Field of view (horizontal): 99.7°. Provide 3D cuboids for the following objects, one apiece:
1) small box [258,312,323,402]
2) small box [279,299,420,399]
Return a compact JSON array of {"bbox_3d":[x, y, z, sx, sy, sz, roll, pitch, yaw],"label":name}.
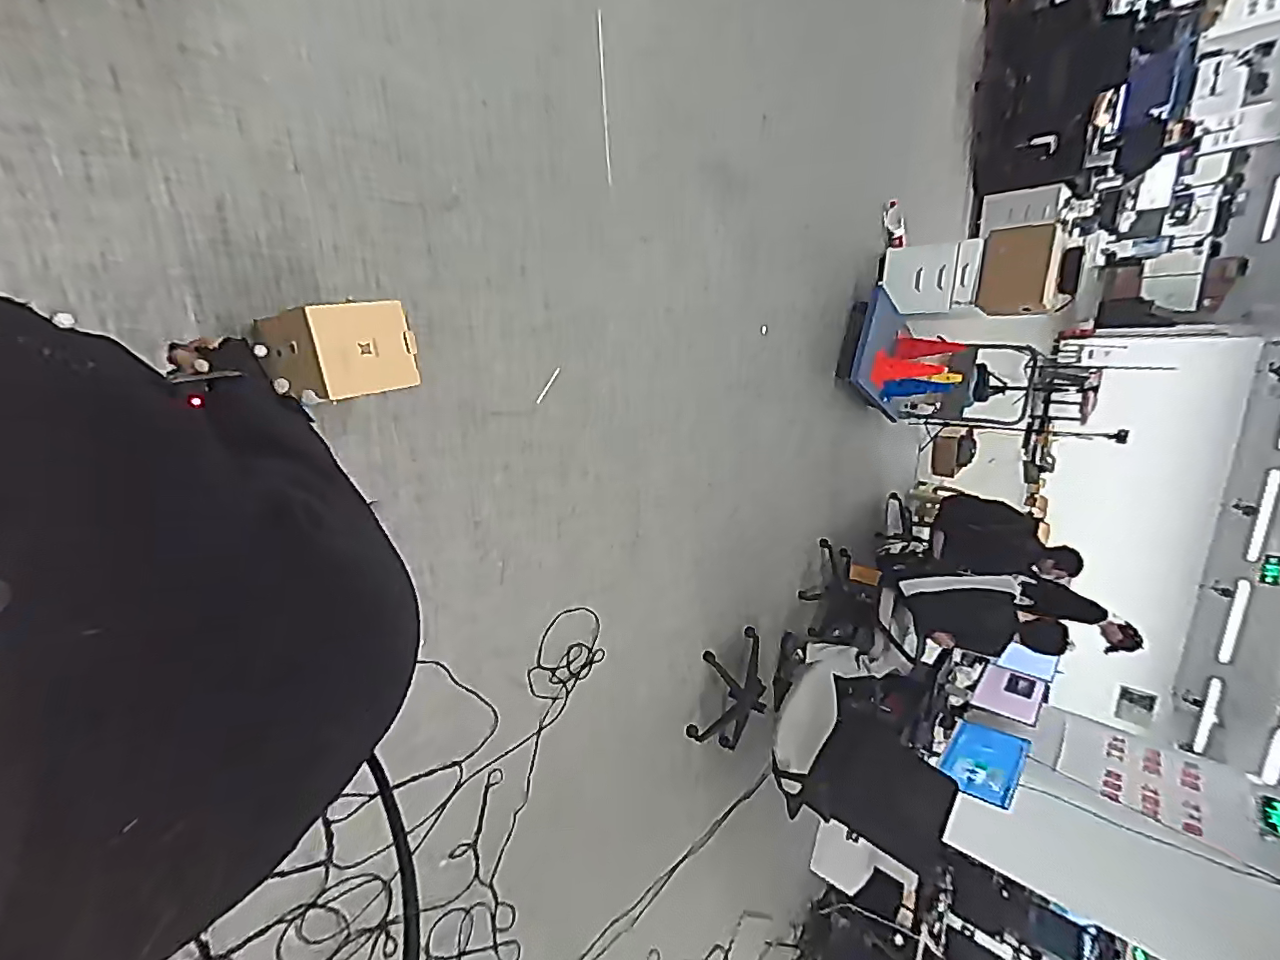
[{"bbox_3d":[-0.689,-0.270,1.164,0.168,0.176,0.179,-24,115,-43],"label":"small box"},{"bbox_3d":[-0.566,-0.258,1.056,0.179,0.176,0.168,-24,115,-42],"label":"small box"}]
